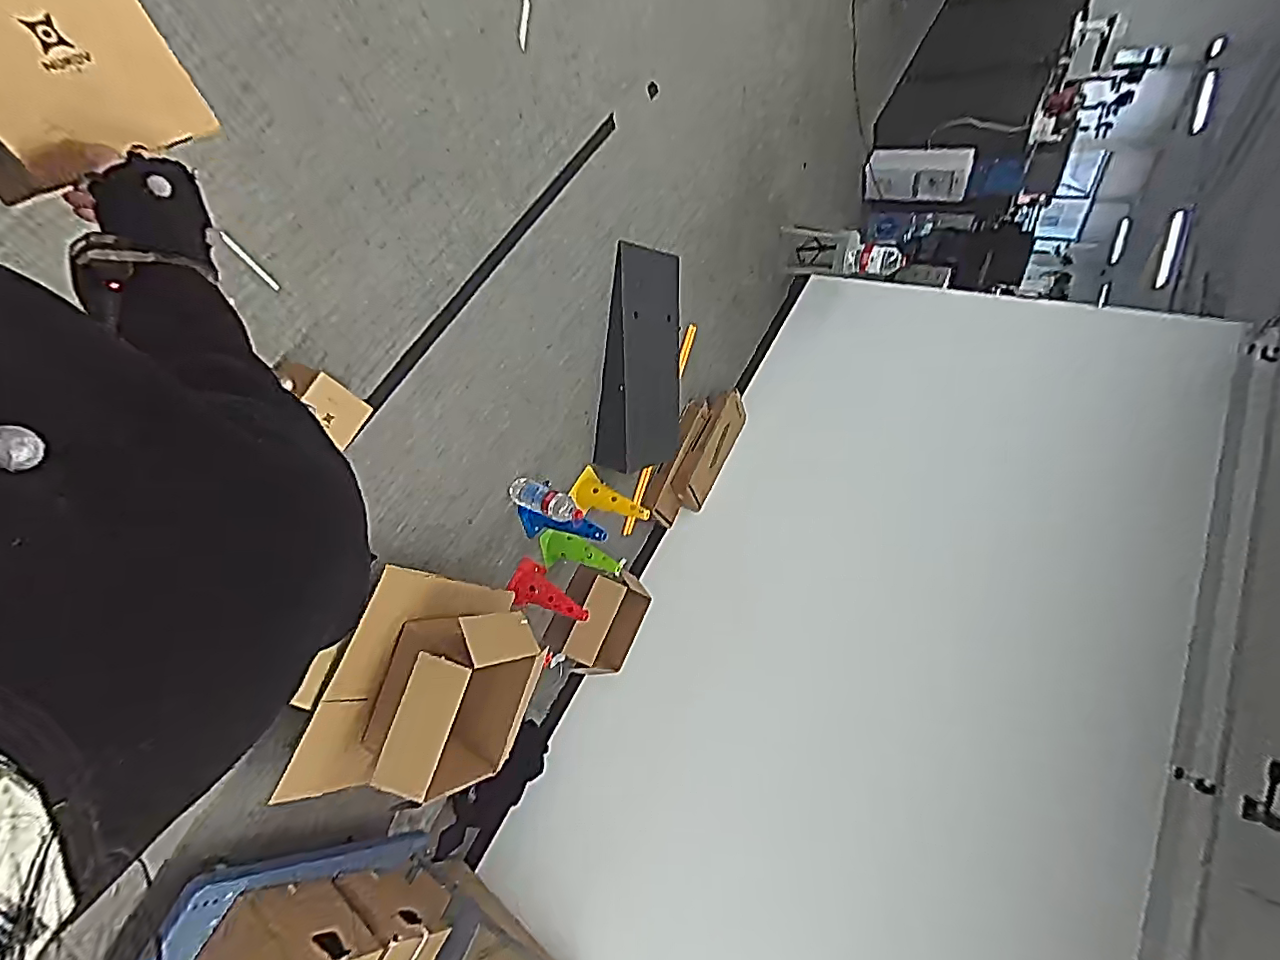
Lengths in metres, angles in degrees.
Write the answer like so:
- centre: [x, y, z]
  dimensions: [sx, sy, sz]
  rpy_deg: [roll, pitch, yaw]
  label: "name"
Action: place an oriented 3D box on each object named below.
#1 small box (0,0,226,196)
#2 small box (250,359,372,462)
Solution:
- centre: [-0.542, -0.379, 0.484]
  dimensions: [0.168, 0.176, 0.179]
  rpy_deg: [-54, 143, -31]
  label: "small box"
- centre: [-0.819, -0.174, 1.339]
  dimensions: [0.179, 0.176, 0.168]
  rpy_deg: [-63, 151, -15]
  label: "small box"
